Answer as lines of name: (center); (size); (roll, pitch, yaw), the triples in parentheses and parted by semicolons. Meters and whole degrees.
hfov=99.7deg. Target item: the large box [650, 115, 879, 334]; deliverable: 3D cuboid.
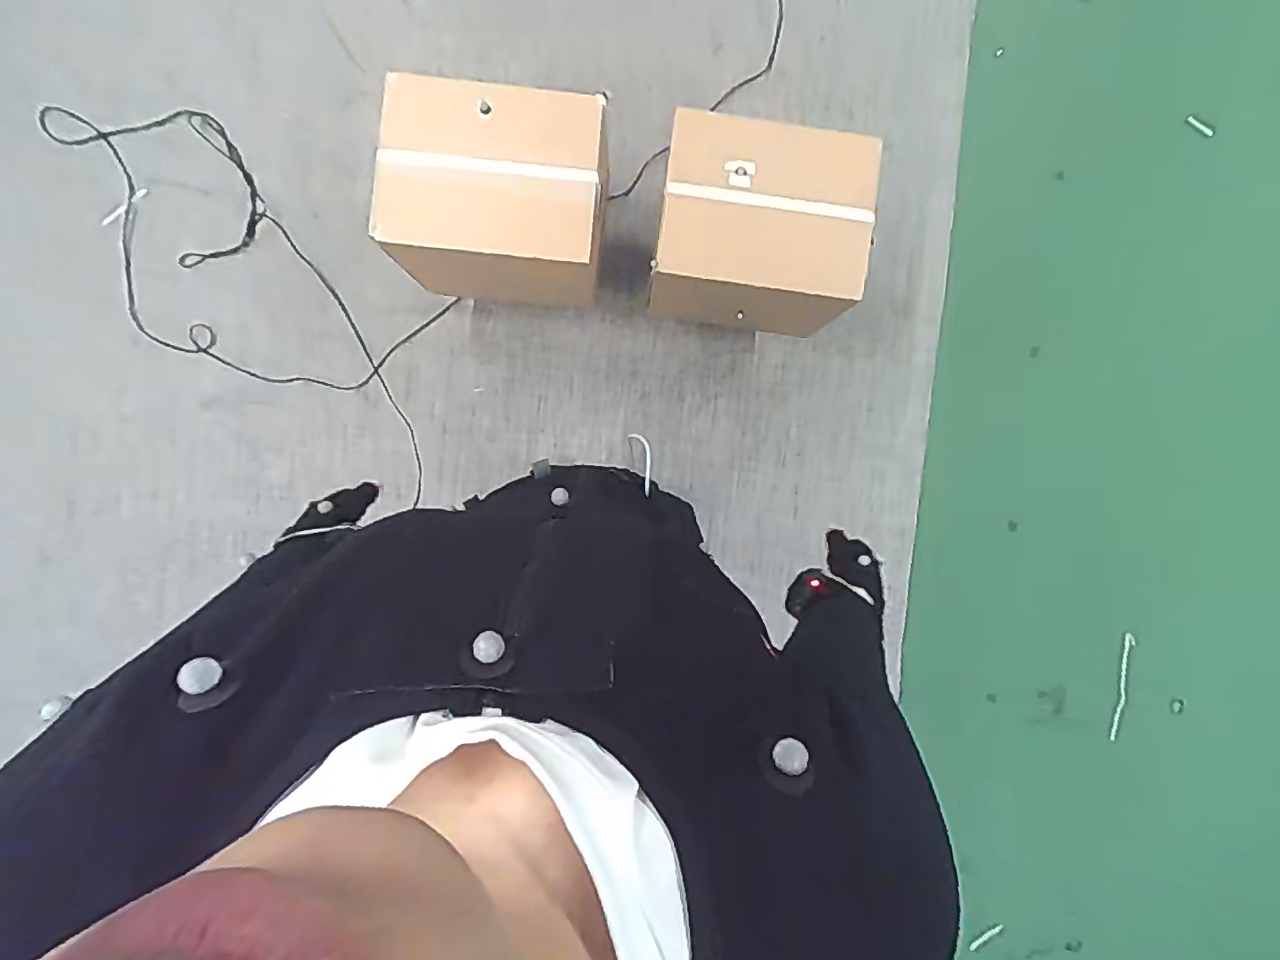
large box: (0.246, -0.528, 1.189); (0.408, 0.320, 0.320); (8, 91, -2)
